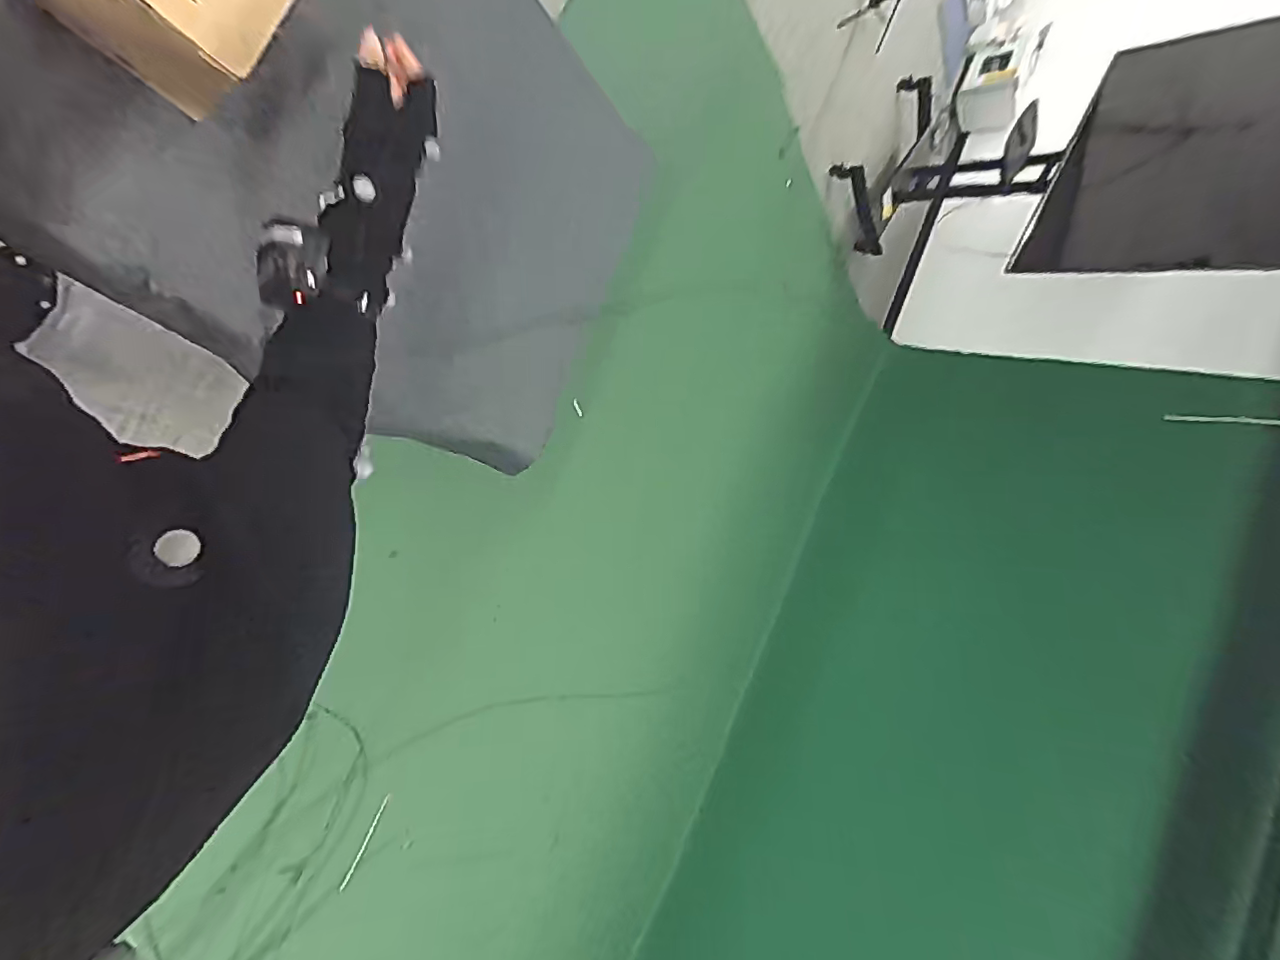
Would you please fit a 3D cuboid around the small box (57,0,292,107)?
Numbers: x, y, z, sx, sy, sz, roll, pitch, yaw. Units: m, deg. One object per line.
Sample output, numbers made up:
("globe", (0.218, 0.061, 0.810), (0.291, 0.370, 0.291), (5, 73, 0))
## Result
("small box", (-0.395, -0.456, 0.448), (0.168, 0.176, 0.179), (32, 78, -50))
